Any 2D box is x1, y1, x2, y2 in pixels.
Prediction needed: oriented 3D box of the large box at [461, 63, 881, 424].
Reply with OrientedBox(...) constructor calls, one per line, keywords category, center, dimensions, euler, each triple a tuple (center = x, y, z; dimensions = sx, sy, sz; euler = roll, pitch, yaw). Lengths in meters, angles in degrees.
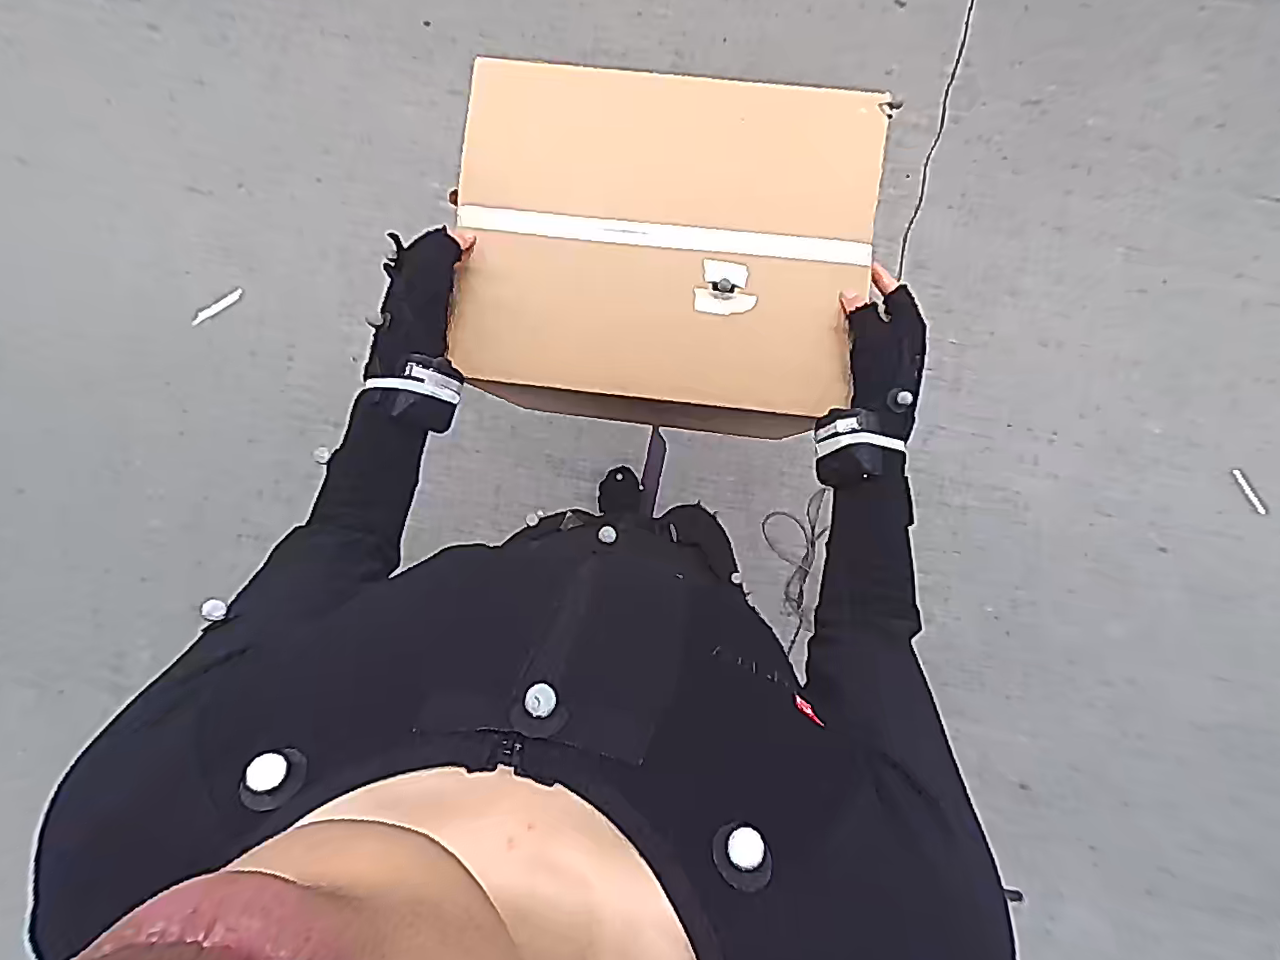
OrientedBox(category="large box", center=(0.030, -0.255, 0.694), dimensions=(0.408, 0.320, 0.320), euler=(7, 93, 2))
